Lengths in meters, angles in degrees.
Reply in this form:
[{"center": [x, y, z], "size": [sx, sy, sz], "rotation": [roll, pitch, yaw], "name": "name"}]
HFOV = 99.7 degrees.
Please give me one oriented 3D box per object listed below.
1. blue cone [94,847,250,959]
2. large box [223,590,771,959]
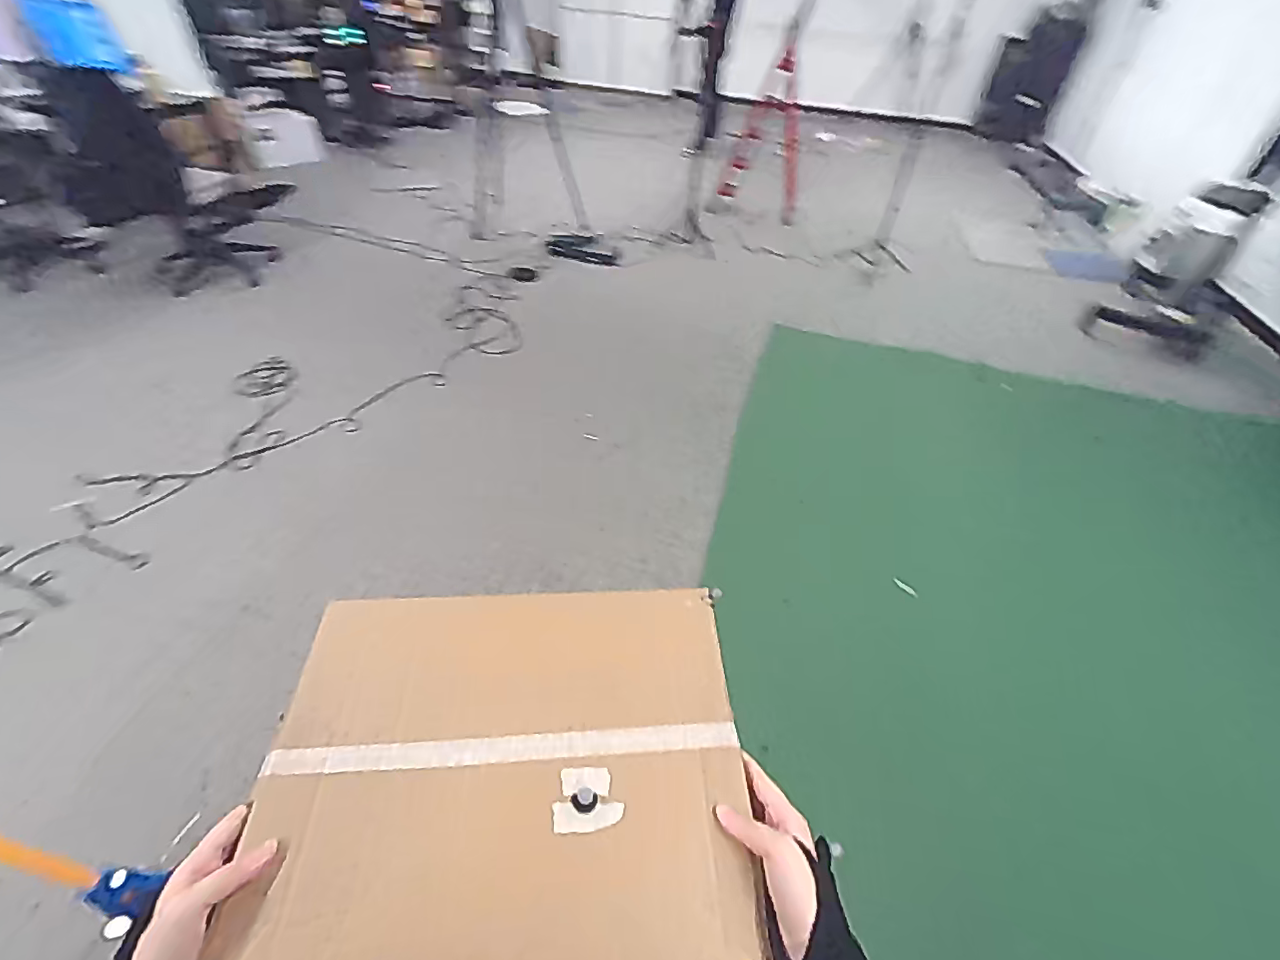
[{"center": [-0.915, 0.794, 1.032], "size": [0.192, 0.380, 0.193], "rotation": [21, 46, 15], "name": "blue cone"}, {"center": [-0.122, 0.343, 0.594], "size": [0.408, 0.320, 0.320], "rotation": [-1, 47, -7], "name": "large box"}]
